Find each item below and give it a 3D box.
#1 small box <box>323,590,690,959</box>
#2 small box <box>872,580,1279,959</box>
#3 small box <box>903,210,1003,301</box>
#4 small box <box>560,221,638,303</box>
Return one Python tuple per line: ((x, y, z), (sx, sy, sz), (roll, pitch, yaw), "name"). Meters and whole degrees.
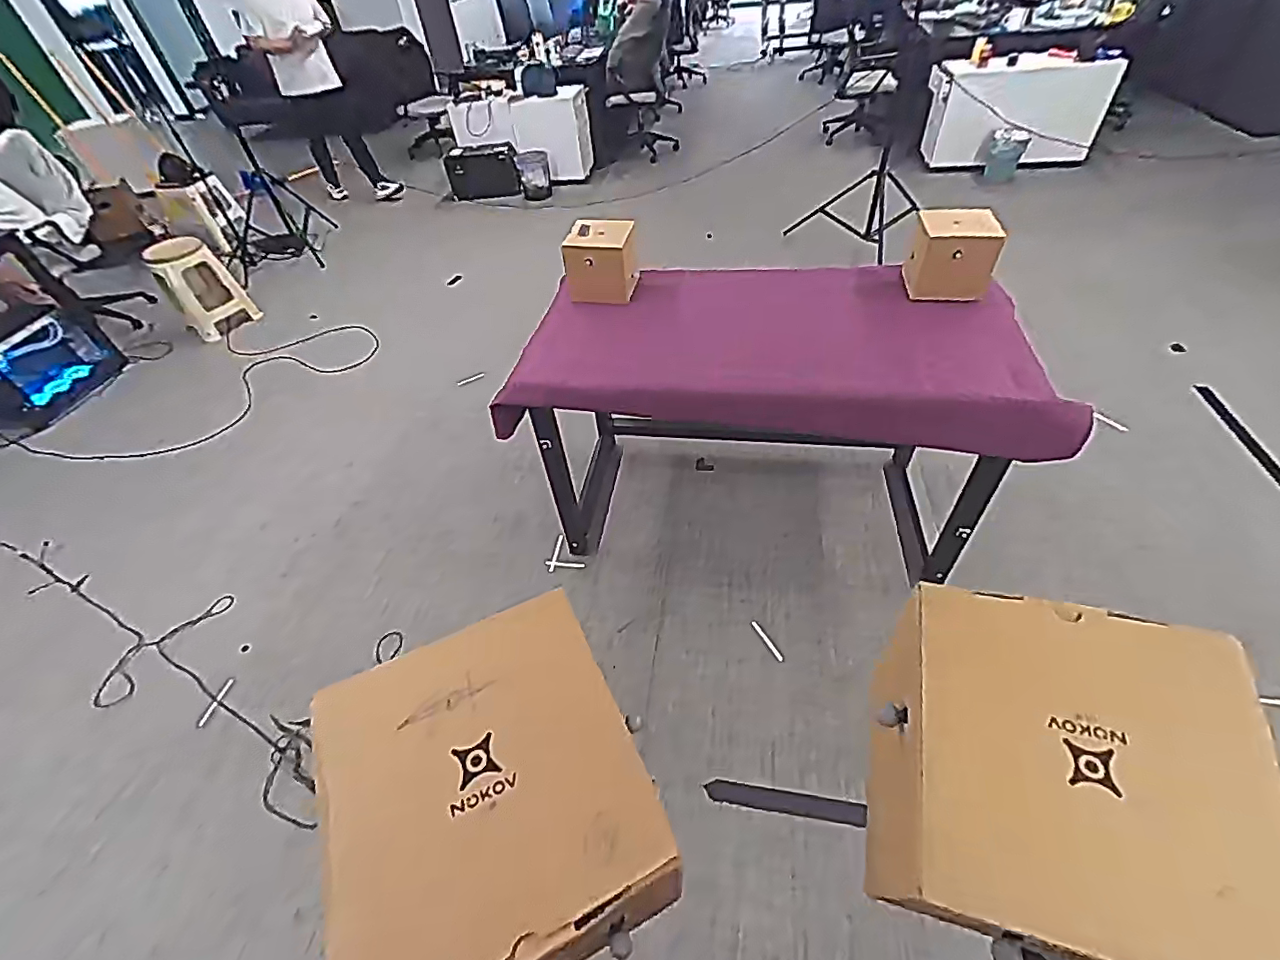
((-0.079, 0.213, 0.356), (0.168, 0.176, 0.179), (-21, 49, -17), "small box")
((0.253, 0.192, 0.351), (0.168, 0.176, 0.179), (7, 54, 17), "small box")
((0.799, -0.583, 1.408), (0.179, 0.176, 0.168), (5, 48, 10), "small box")
((-0.111, -0.626, 1.556), (0.179, 0.176, 0.168), (7, 49, 11), "small box")
